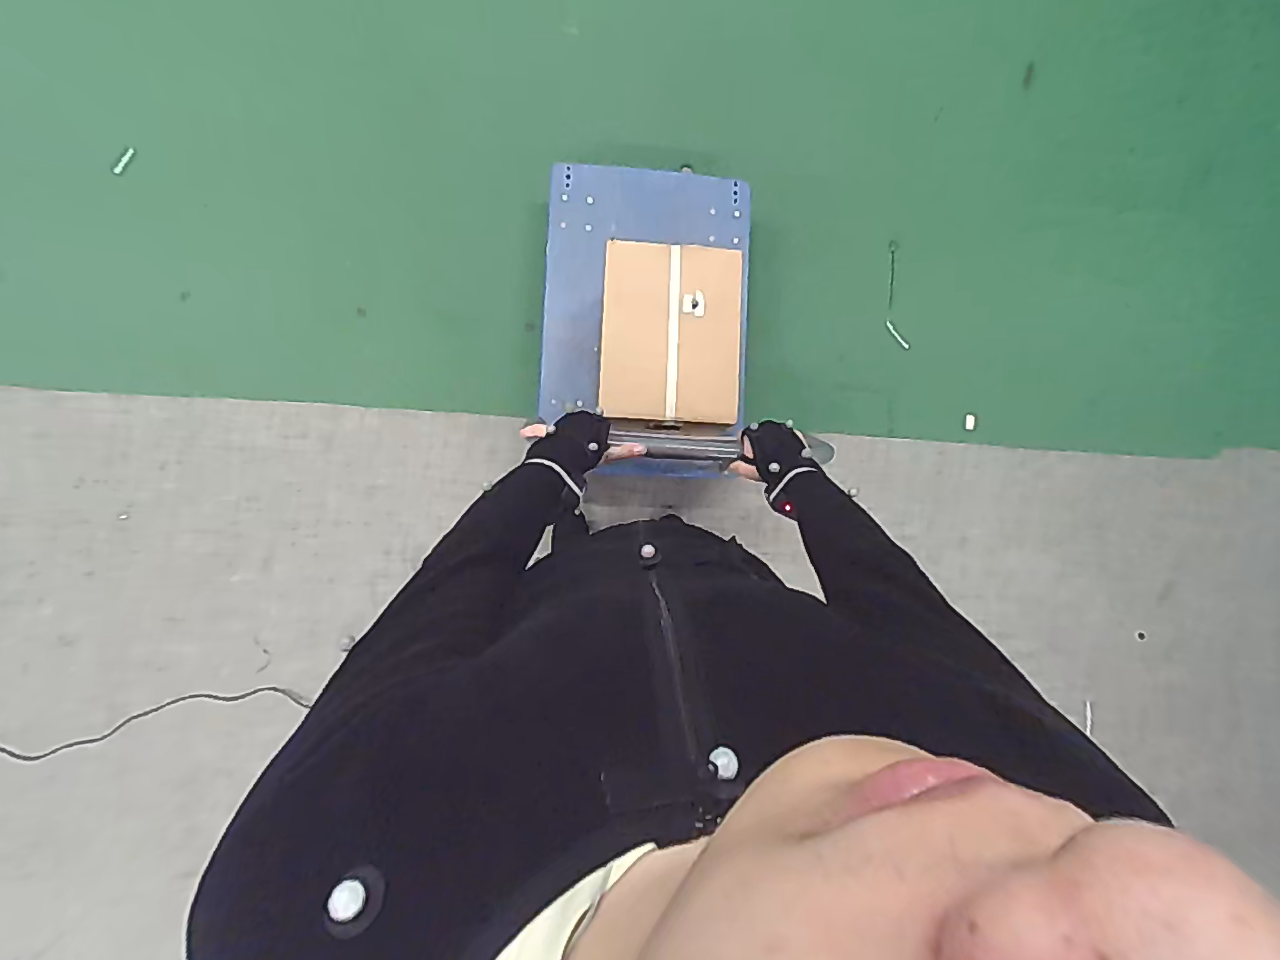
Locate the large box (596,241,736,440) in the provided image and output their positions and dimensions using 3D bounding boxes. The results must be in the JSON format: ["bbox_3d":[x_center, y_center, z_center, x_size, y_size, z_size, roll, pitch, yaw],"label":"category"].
[{"bbox_3d":[0.049,-0.321,1.354,0.320,0.320,0.408,2,85,-6],"label":"large box"}]
